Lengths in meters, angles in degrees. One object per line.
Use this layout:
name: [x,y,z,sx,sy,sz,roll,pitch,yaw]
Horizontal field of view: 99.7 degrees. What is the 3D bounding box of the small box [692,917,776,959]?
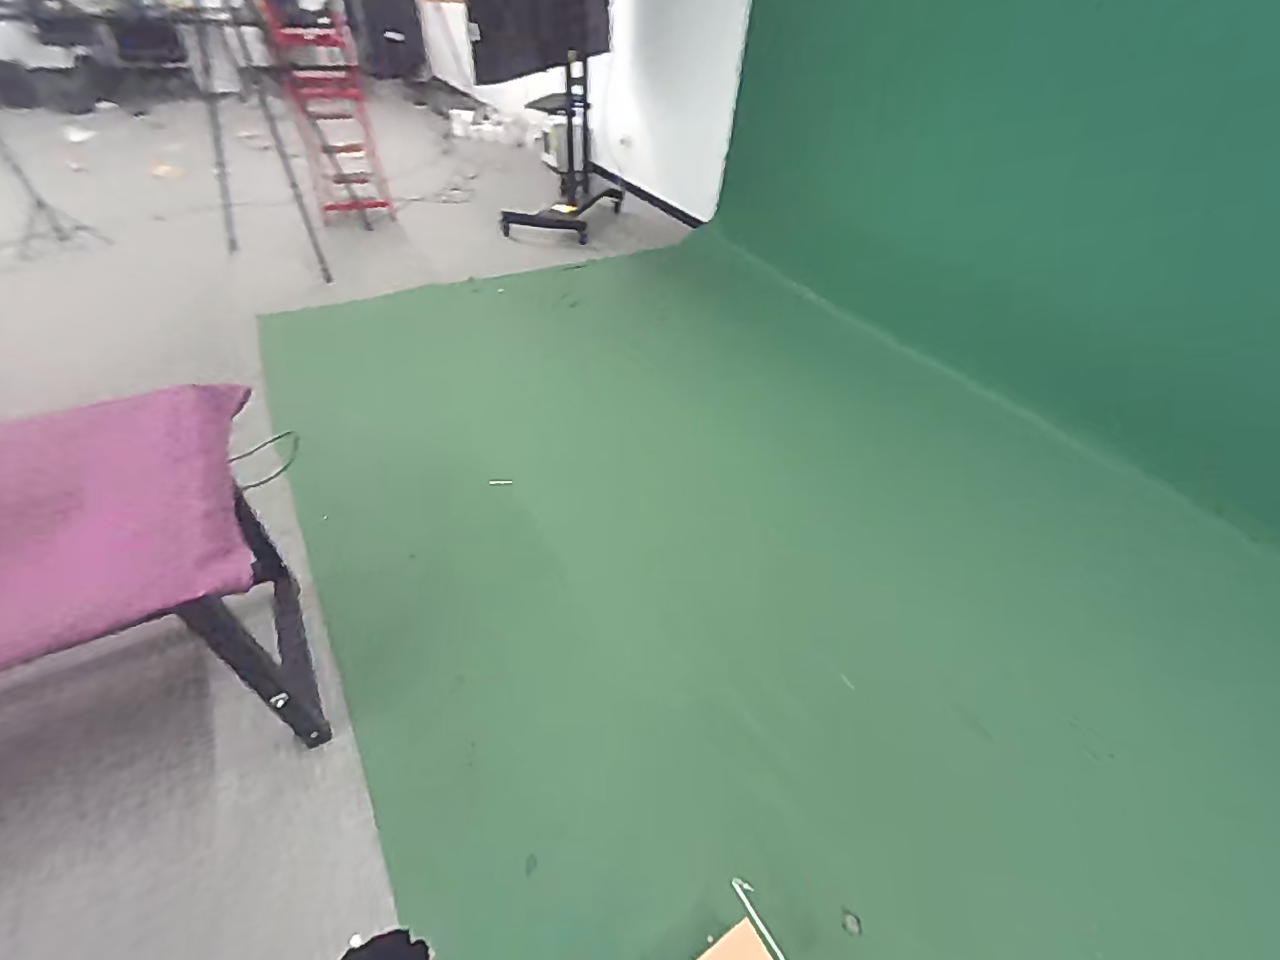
small box: [0.176,0.984,1.027,0.179,0.176,0.168,-21,49,-24]
